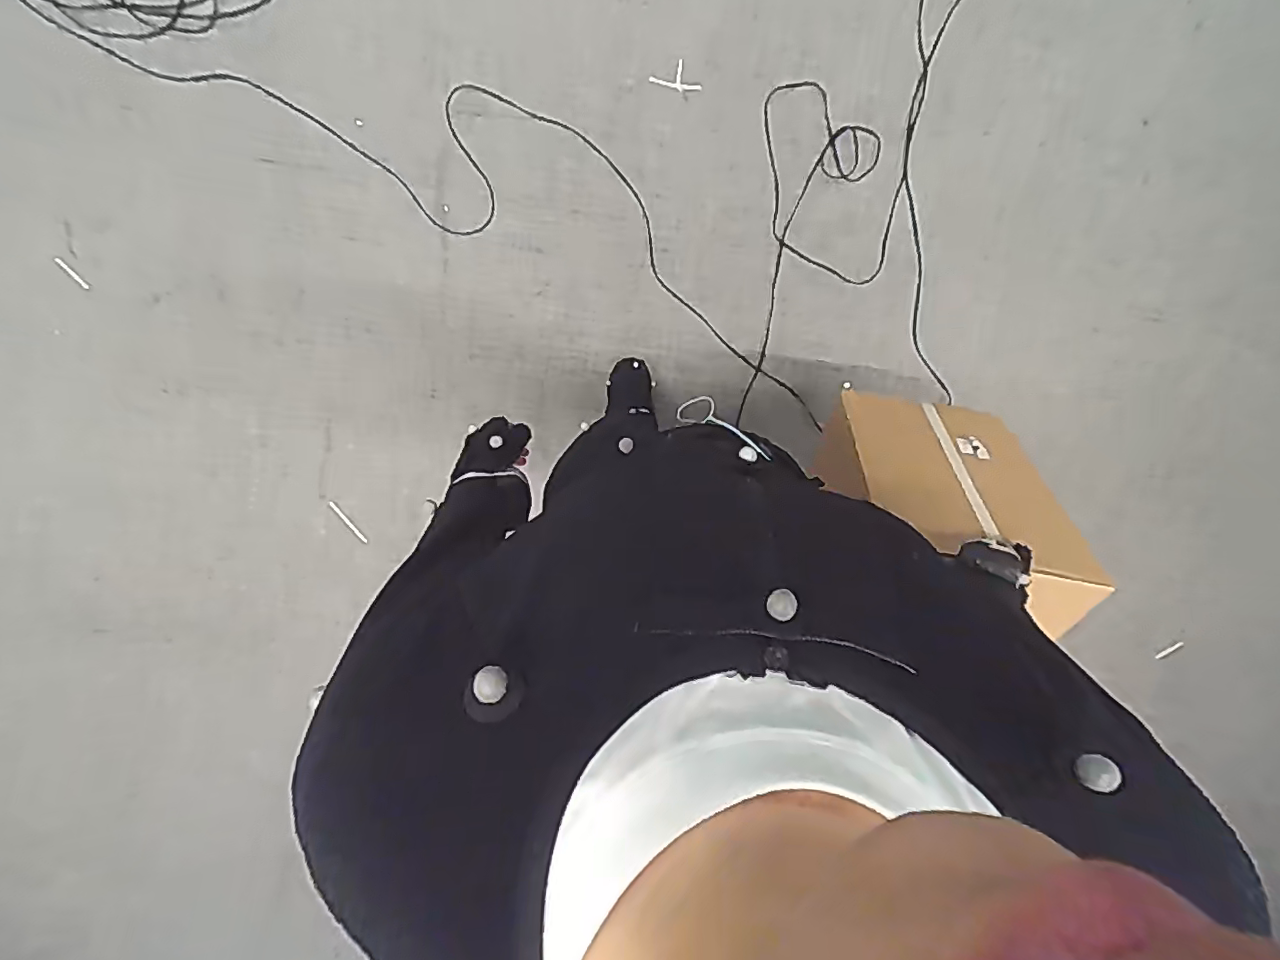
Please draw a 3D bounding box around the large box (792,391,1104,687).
[{"bbox_3d":[0.481,0.096,0.969,0.320,0.408,0.320,11,131,1],"label":"large box"}]
